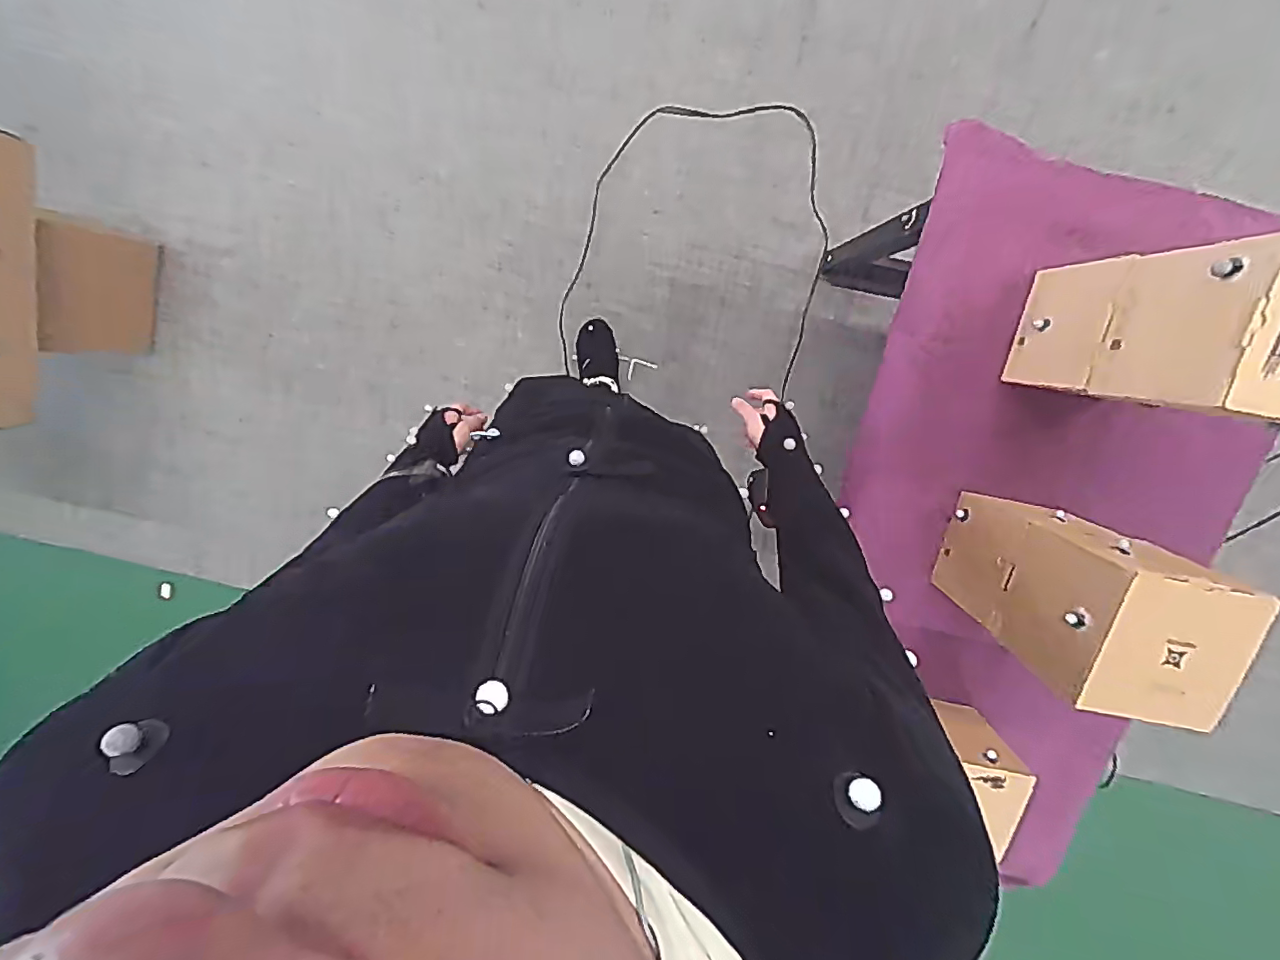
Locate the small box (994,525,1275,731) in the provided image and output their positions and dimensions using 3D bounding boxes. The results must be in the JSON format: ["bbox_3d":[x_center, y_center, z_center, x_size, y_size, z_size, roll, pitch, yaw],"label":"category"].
[{"bbox_3d":[0.588,0.171,0.674,0.168,0.176,0.179,11,104,-1],"label":"small box"}]

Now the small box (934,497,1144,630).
[{"bbox_3d":[0.593,0.133,0.833,0.179,0.176,0.168,11,104,-3],"label":"small box"}]

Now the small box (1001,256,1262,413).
[{"bbox_3d":[0.656,-0.198,0.748,0.179,0.176,0.168,10,104,-2],"label":"small box"}]

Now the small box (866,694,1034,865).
[{"bbox_3d":[0.512,0.503,0.926,0.168,0.176,0.179,12,104,-3],"label":"small box"}]
